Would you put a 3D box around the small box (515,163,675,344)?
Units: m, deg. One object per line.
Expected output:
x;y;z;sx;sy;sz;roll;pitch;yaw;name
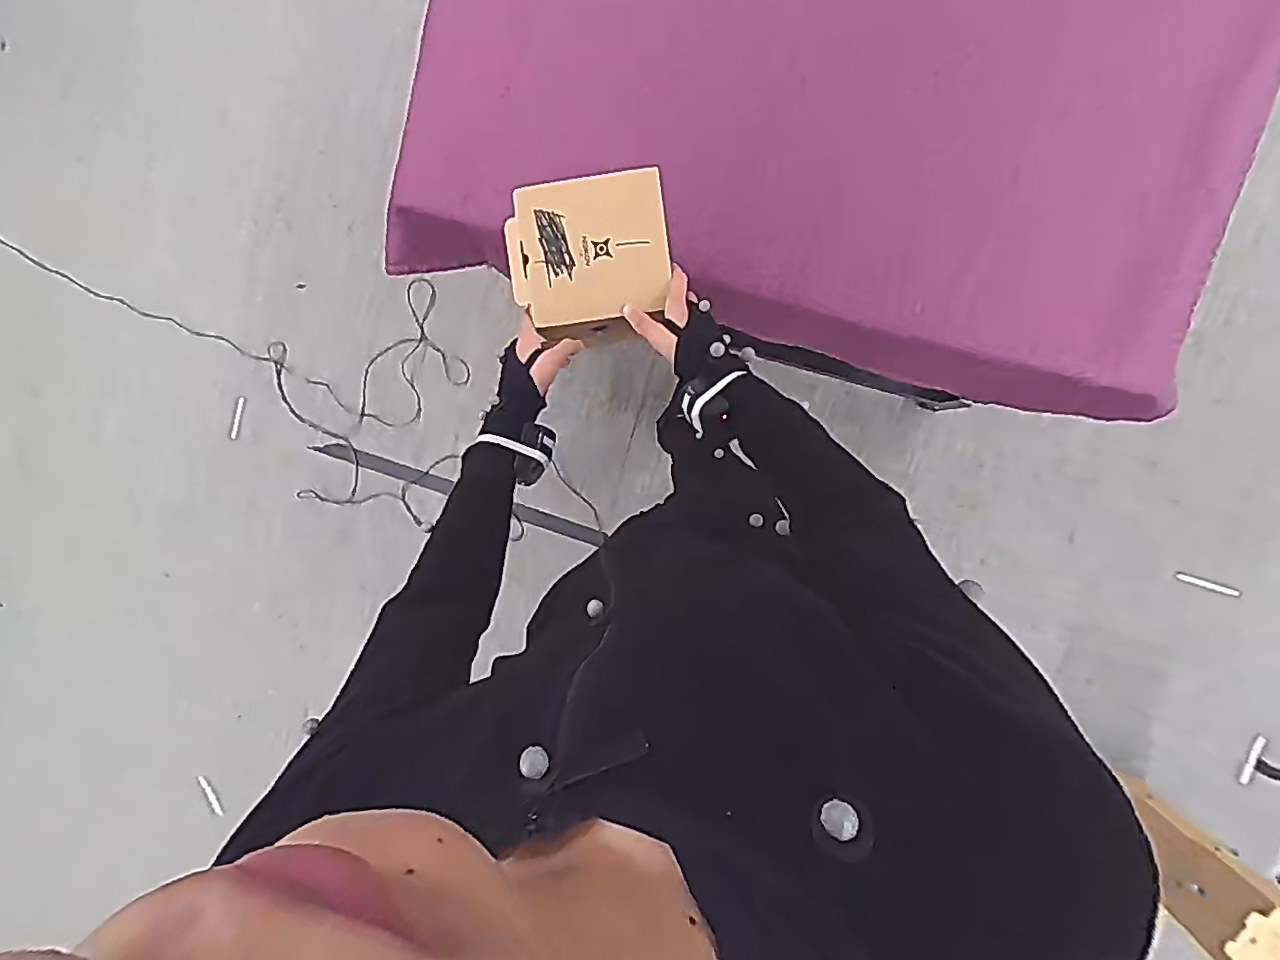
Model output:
-0.049;-0.283;0.716;0.179;0.176;0.168;-7;95;2;small box

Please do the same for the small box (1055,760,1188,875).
1.262;0.882;1.435;0.179;0.176;0.168;21;97;5;small box

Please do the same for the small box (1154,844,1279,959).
1.237;0.899;1.106;0.179;0.176;0.168;28;98;4;small box
